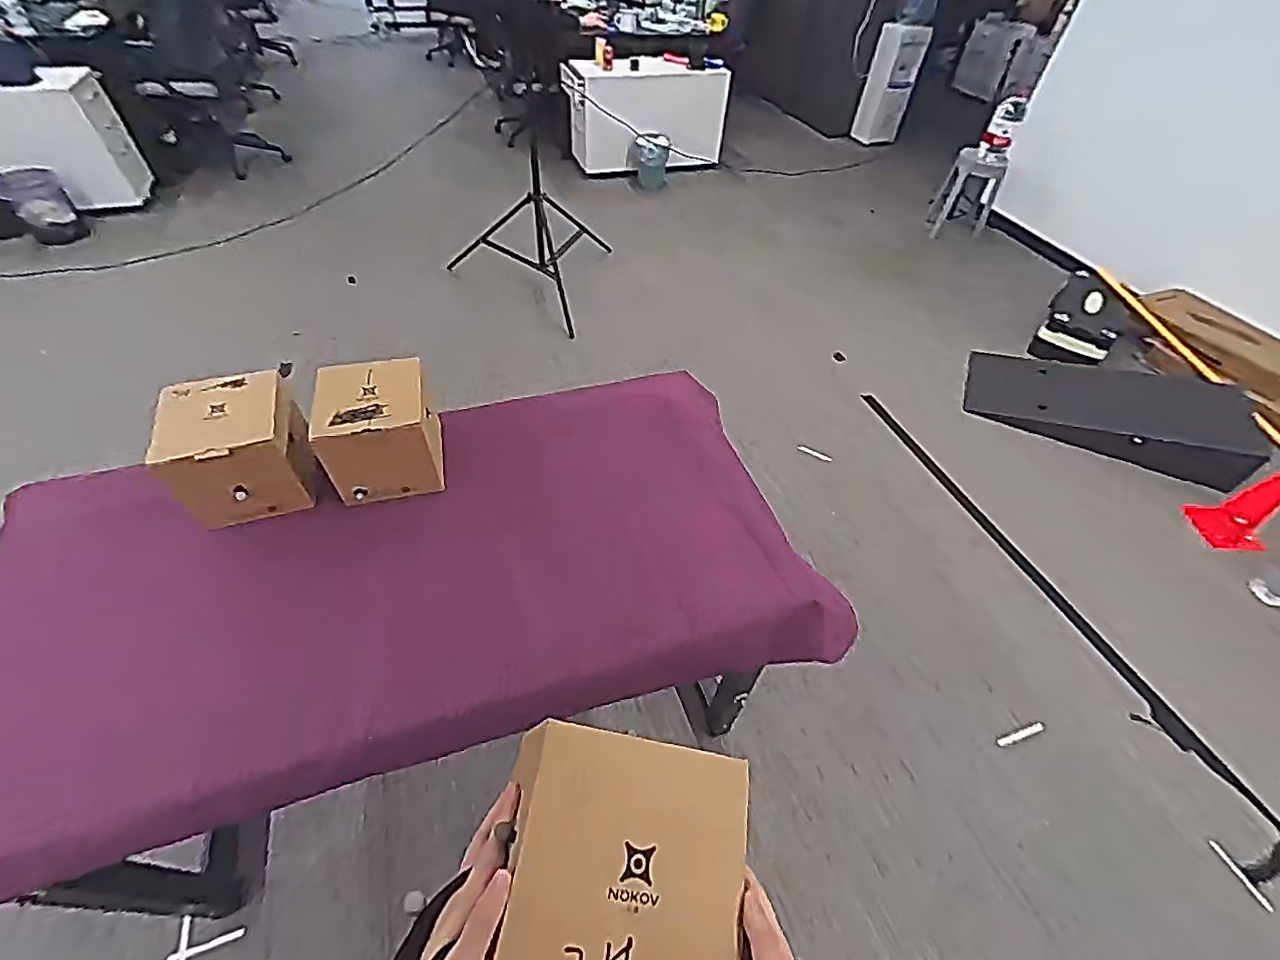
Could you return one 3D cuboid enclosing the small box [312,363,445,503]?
[{"bbox_3d":[-0.443,-0.076,0.942,0.168,0.176,0.179,-9,51,-12],"label":"small box"}]

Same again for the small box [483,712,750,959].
[{"bbox_3d":[-0.024,0.307,0.440,0.168,0.176,0.179,16,57,-9],"label":"small box"}]
